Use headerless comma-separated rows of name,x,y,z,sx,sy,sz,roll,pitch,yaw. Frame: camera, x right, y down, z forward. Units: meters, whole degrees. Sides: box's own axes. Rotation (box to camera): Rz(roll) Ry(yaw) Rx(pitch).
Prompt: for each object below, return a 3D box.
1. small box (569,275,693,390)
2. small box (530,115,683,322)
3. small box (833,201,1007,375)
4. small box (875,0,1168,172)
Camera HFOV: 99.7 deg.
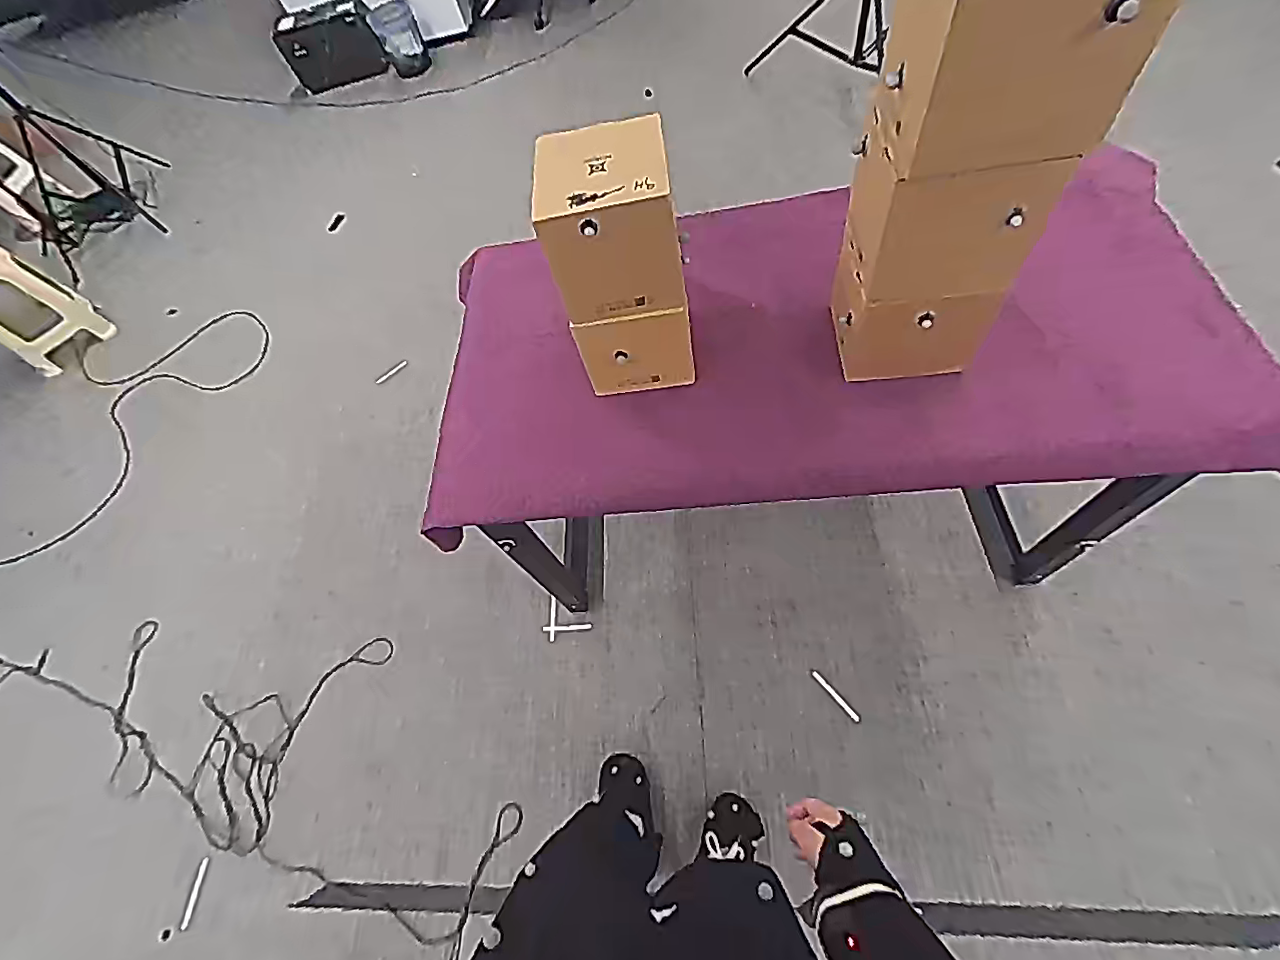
small box,-0.009,-0.260,0.866,0.168,0.176,0.179,-7,60,8
small box,-0.038,-0.344,0.728,0.168,0.176,0.179,-8,59,8
small box,0.387,-0.270,0.789,0.179,0.176,0.168,-4,62,9
small box,0.338,-0.422,0.501,0.179,0.176,0.168,-5,61,10
